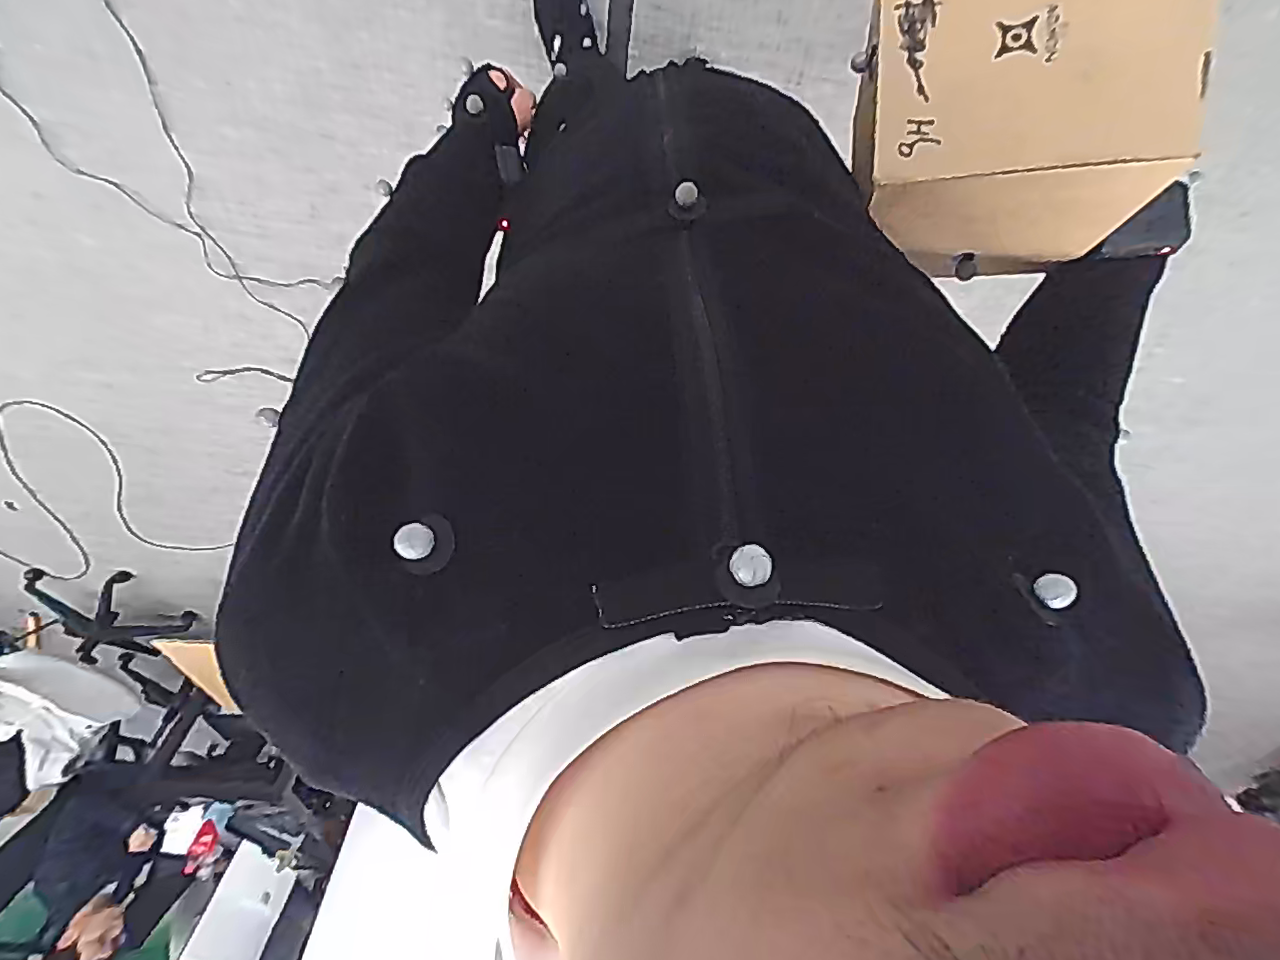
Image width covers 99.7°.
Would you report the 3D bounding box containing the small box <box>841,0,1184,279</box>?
[{"bbox_3d":[0.264,-0.271,0.426,0.179,0.168,0.176,3,179,15],"label":"small box"}]
